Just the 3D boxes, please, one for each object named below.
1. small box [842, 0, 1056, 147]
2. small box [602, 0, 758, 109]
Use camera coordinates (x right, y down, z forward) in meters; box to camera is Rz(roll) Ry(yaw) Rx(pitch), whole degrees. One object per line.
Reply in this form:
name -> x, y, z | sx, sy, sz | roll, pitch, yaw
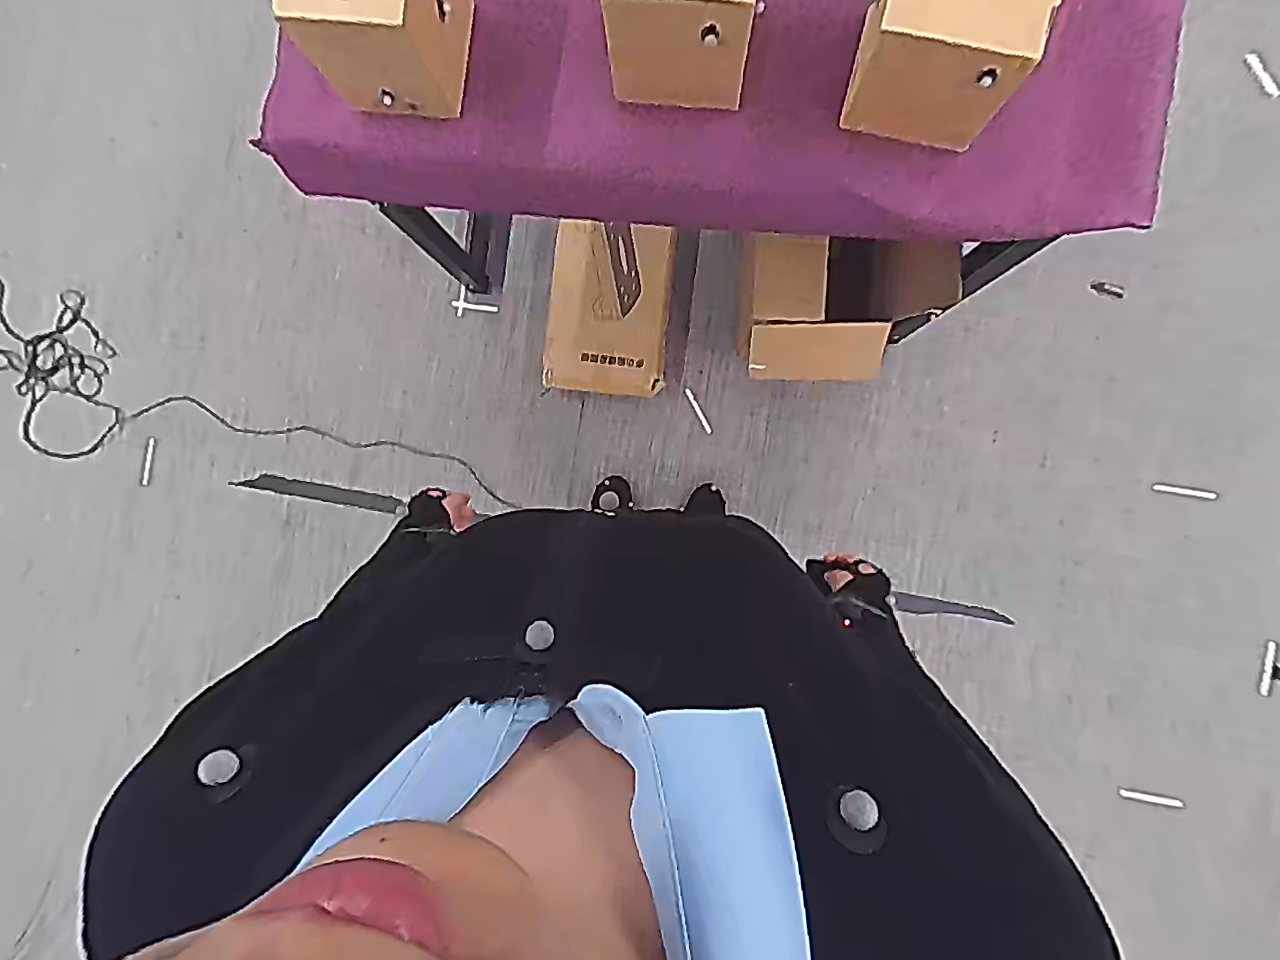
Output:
small box -> 0.368, -0.544, 0.659 | 0.179, 0.176, 0.168 | 14, 91, 4
small box -> 0.056, -0.606, 0.680 | 0.179, 0.176, 0.168 | 7, 88, 4
